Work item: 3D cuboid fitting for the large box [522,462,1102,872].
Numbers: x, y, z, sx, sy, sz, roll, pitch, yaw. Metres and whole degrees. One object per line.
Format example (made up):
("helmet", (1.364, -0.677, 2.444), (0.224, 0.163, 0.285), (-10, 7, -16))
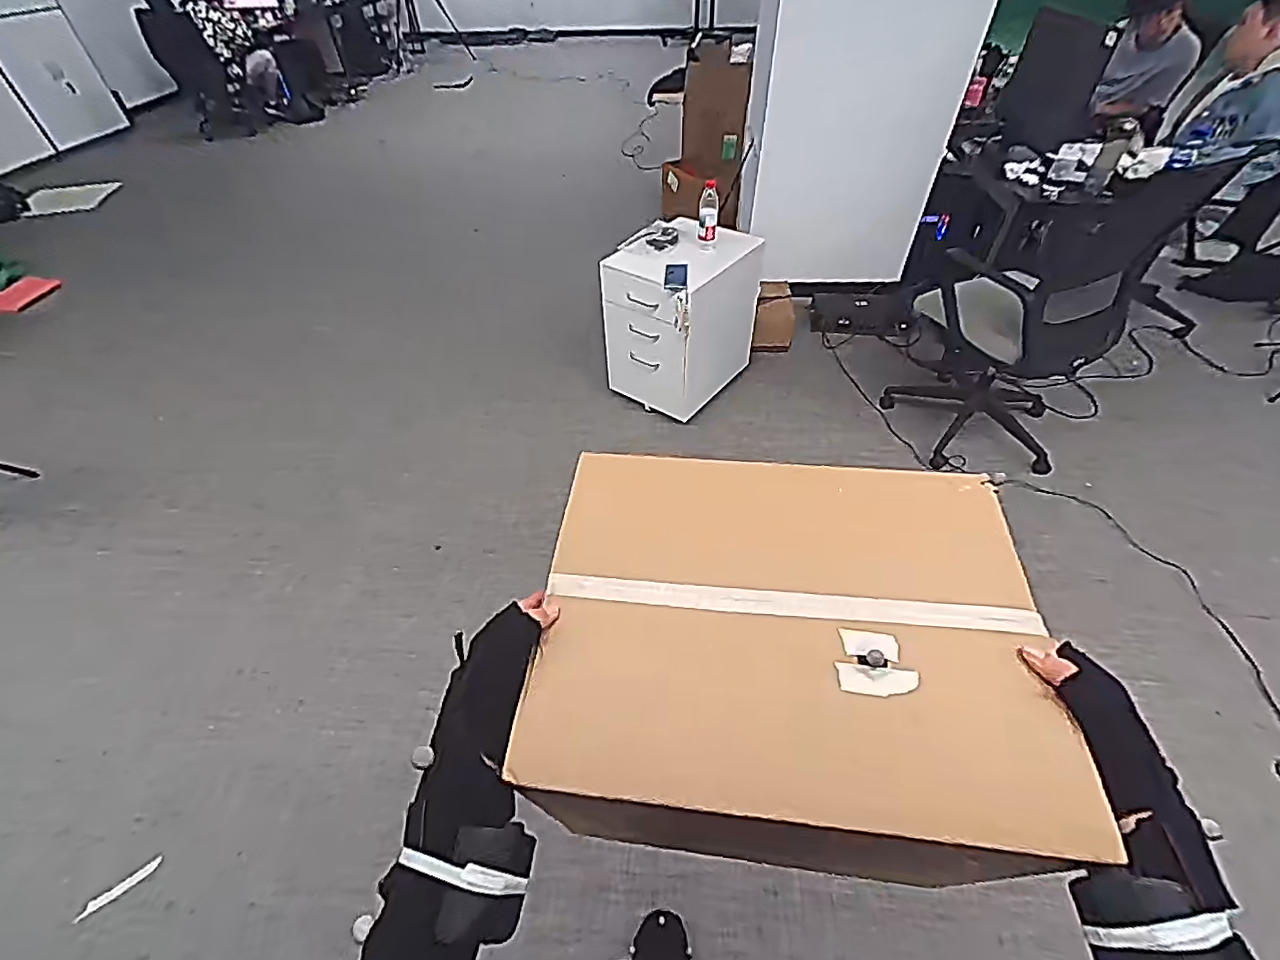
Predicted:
("large box", (0.130, 0.202, 0.580), (0.408, 0.320, 0.320), (4, 53, 7))
